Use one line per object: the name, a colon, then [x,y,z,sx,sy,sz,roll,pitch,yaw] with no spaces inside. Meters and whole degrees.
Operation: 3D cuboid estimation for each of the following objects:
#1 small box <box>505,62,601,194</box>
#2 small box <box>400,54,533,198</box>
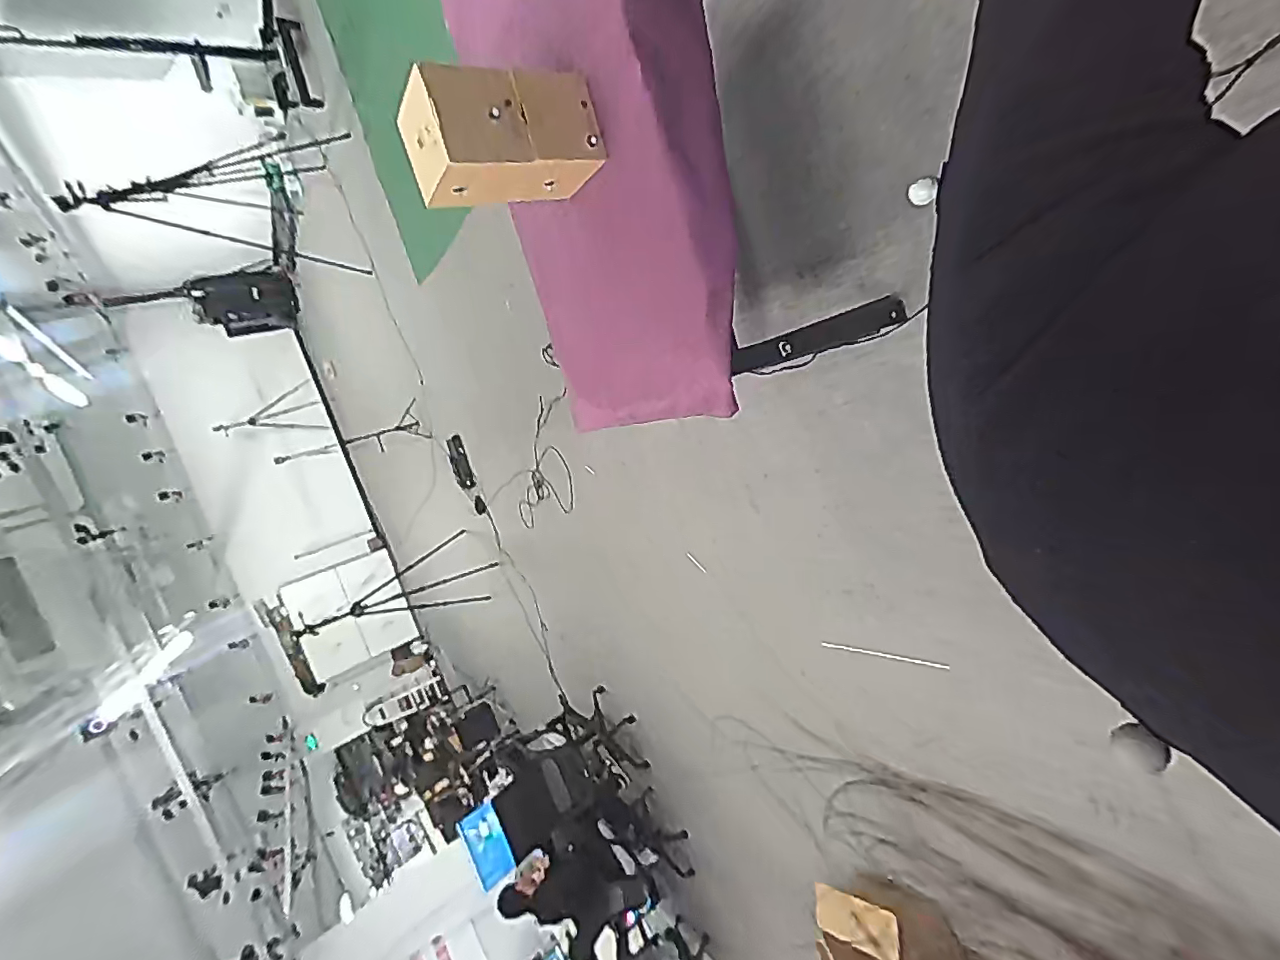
small box: [-0.196,-0.711,1.107,0.179,0.176,0.168,-3,106,56]
small box: [-0.327,-0.655,1.023,0.179,0.176,0.168,-4,106,55]
